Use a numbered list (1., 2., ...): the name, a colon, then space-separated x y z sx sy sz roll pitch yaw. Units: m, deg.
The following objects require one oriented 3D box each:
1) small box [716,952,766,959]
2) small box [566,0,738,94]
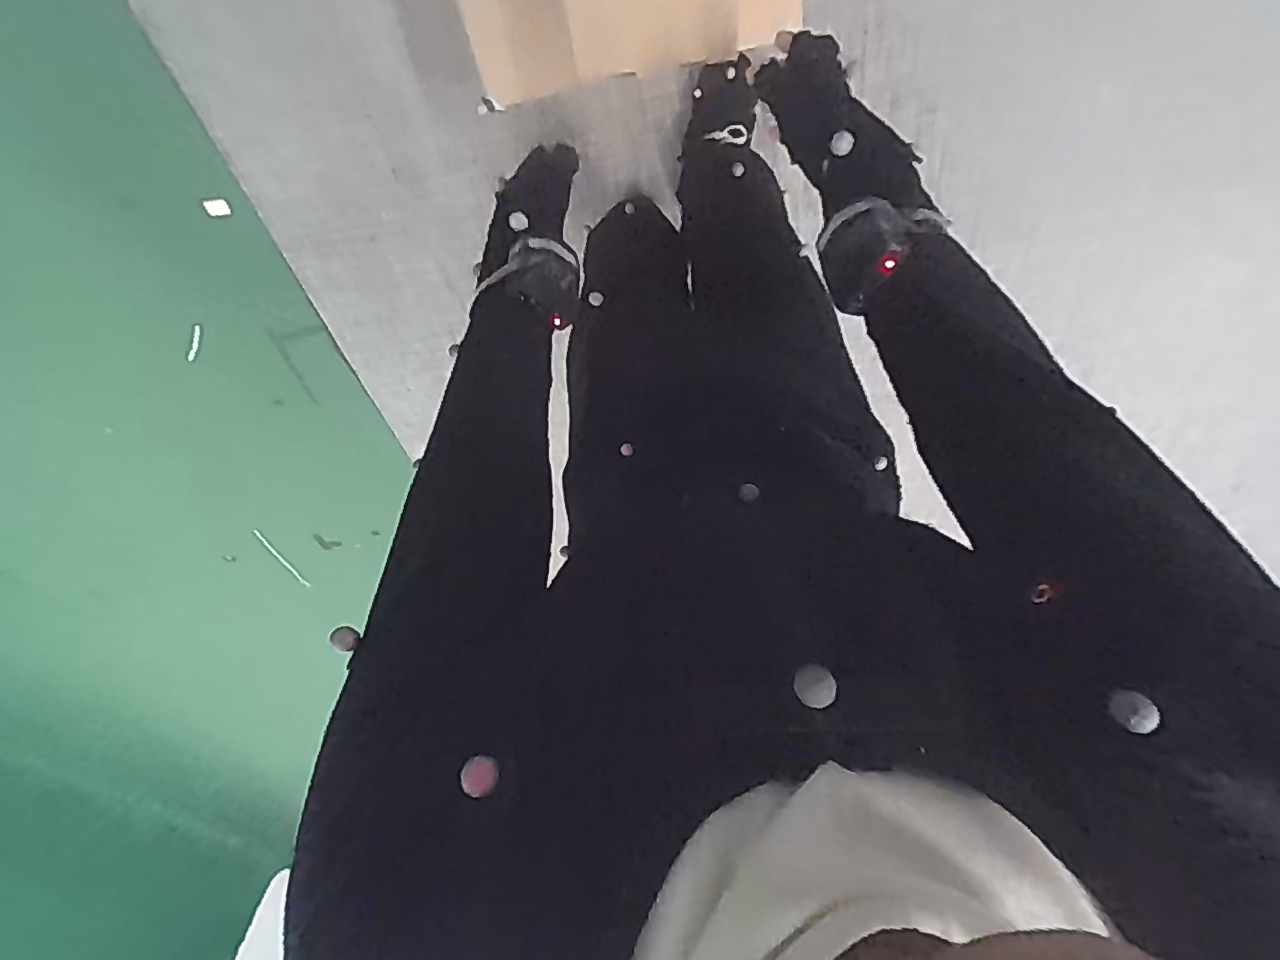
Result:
1. small box: 0.355 1.742 1.857 0.179 0.176 0.168 -7 132 8
2. small box: 0.011 -0.529 0.554 0.168 0.176 0.179 -5 134 7
